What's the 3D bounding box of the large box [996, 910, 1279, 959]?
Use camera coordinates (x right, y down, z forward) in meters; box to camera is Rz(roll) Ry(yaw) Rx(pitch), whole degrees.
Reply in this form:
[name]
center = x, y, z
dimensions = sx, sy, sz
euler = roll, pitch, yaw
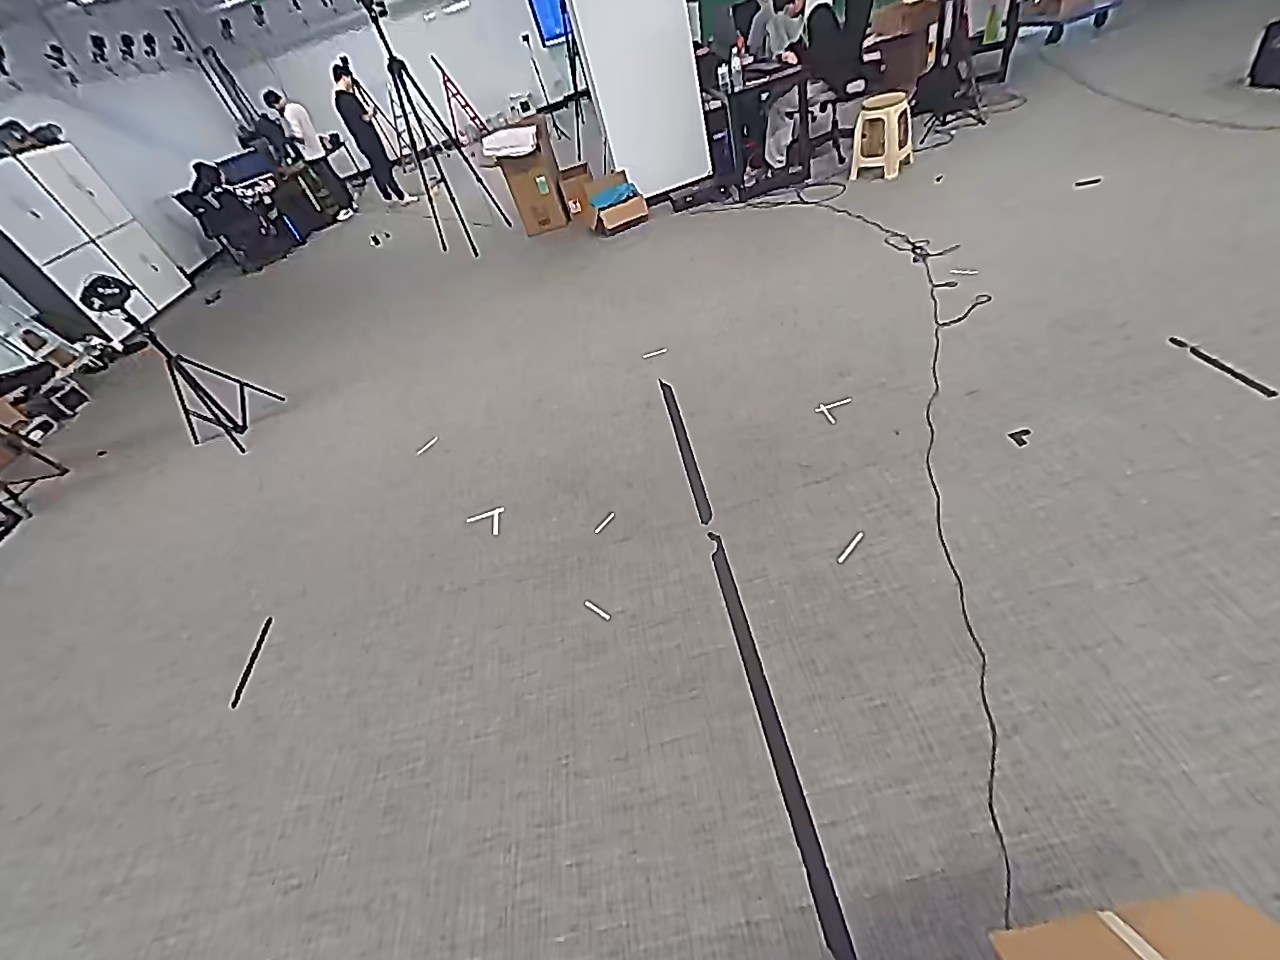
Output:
[large box]
center = 0.636, 0.715, 0.502
dimensions = 0.320, 0.408, 0.320
euler = -16, 80, 6
